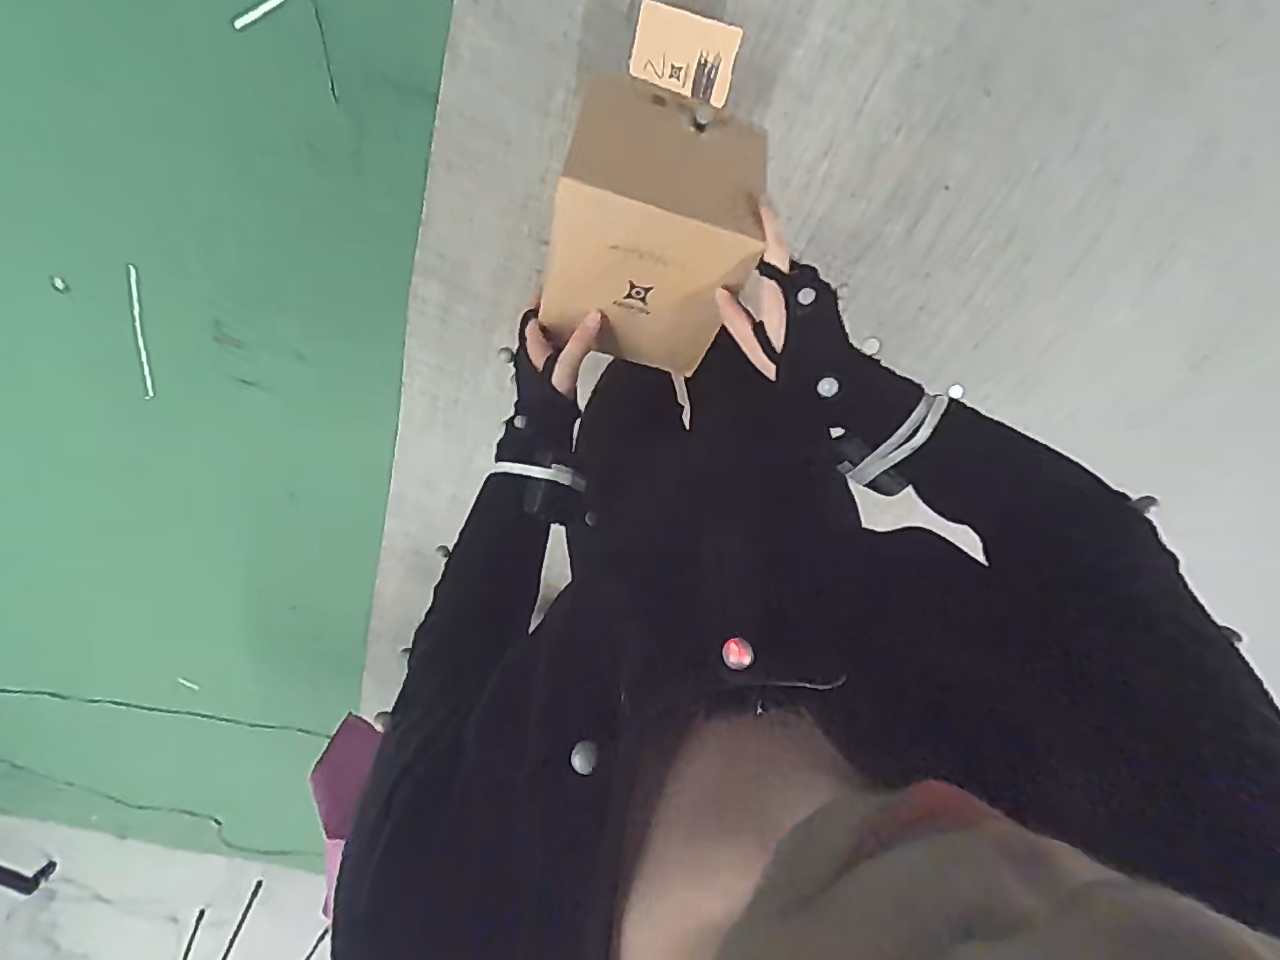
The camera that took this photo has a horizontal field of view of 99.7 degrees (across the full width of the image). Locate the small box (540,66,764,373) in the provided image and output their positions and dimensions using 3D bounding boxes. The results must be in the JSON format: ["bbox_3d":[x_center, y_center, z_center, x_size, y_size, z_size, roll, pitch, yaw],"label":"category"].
[{"bbox_3d":[0.010,-0.238,0.518,0.168,0.176,0.179,13,151,-11],"label":"small box"}]
